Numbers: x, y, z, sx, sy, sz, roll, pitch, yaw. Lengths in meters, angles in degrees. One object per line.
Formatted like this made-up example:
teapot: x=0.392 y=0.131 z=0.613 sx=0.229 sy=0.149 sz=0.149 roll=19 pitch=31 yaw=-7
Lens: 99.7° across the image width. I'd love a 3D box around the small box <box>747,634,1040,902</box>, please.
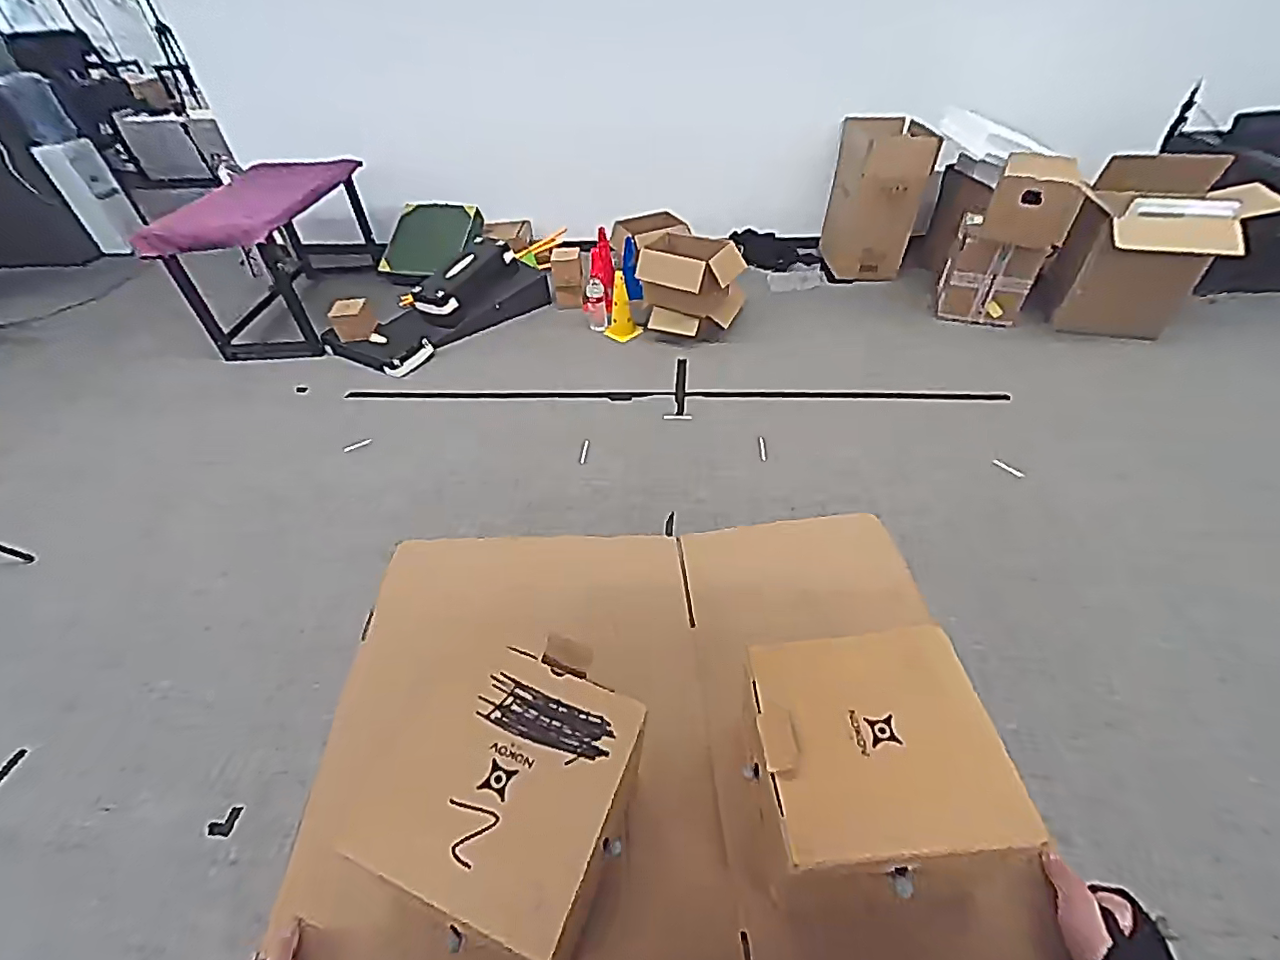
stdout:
small box: x=0.199 y=0.262 z=0.490 sx=0.179 sy=0.176 sz=0.168 roll=-8 pitch=43 yaw=2
